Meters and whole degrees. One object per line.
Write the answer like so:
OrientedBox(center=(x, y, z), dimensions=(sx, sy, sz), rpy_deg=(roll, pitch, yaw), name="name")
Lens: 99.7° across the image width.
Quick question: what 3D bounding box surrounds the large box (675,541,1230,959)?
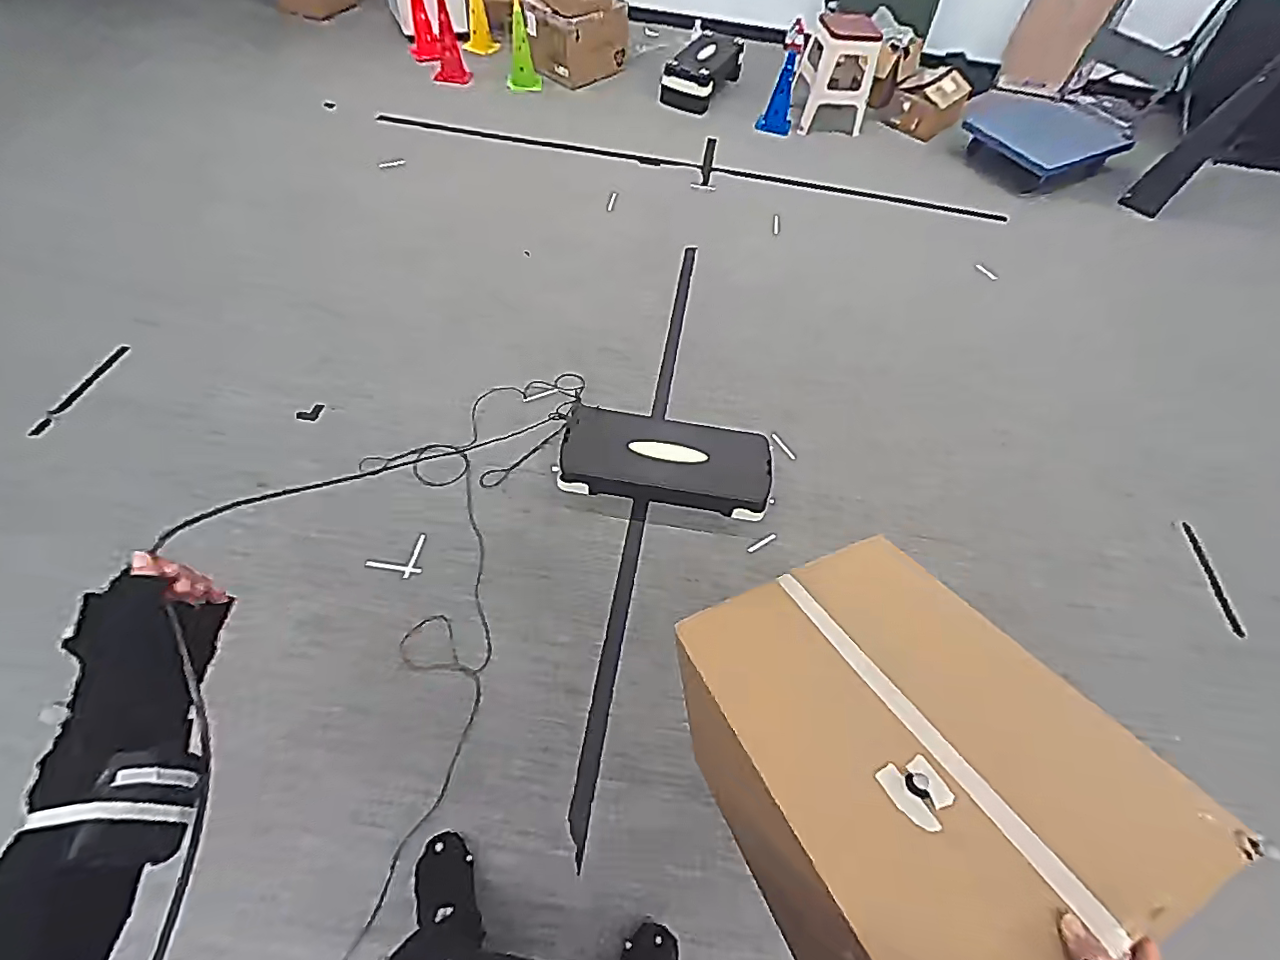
OrientedBox(center=(0.273, 0.346, 0.630), dimensions=(0.320, 0.320, 0.408), rpy_deg=(-20, 37, -13), name="large box")
